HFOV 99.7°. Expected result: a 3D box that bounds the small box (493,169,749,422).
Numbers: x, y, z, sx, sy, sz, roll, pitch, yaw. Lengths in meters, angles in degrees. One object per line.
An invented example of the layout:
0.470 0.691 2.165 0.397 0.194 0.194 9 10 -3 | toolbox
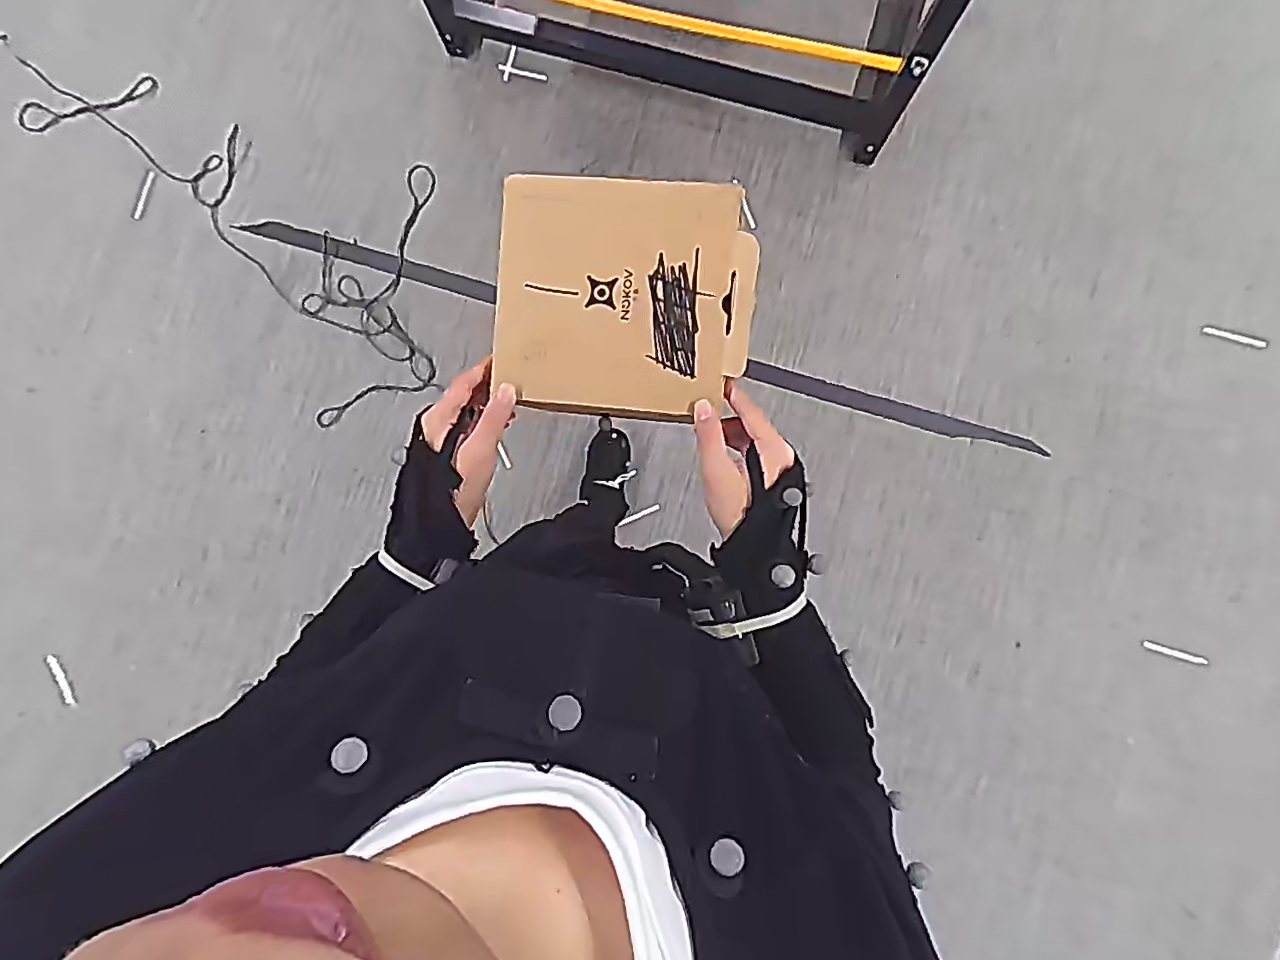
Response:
-0.010 -0.141 0.471 0.179 0.176 0.168 6 94 5 | small box

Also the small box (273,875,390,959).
-0.679 1.030 1.189 0.168 0.176 0.179 14 87 2 | small box
